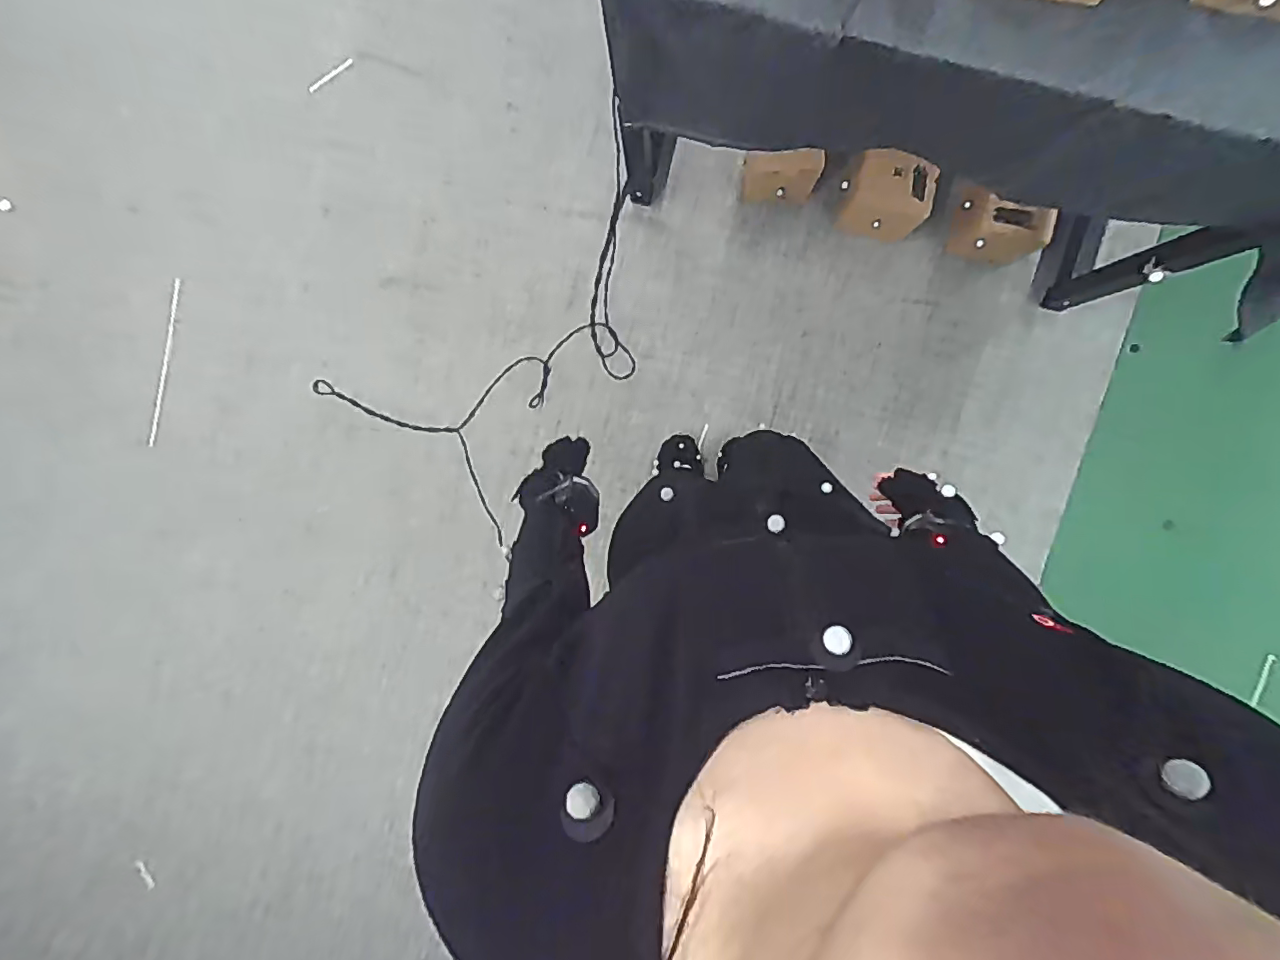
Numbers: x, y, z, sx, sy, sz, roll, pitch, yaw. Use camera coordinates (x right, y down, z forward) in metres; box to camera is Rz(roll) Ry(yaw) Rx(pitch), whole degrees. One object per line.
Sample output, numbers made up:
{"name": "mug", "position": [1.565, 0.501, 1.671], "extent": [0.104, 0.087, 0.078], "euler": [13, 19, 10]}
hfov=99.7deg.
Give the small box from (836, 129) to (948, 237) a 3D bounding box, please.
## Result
{"name": "small box", "position": [0.610, -0.717, 1.328], "extent": [0.179, 0.176, 0.168], "euler": [13, 95, 2]}
